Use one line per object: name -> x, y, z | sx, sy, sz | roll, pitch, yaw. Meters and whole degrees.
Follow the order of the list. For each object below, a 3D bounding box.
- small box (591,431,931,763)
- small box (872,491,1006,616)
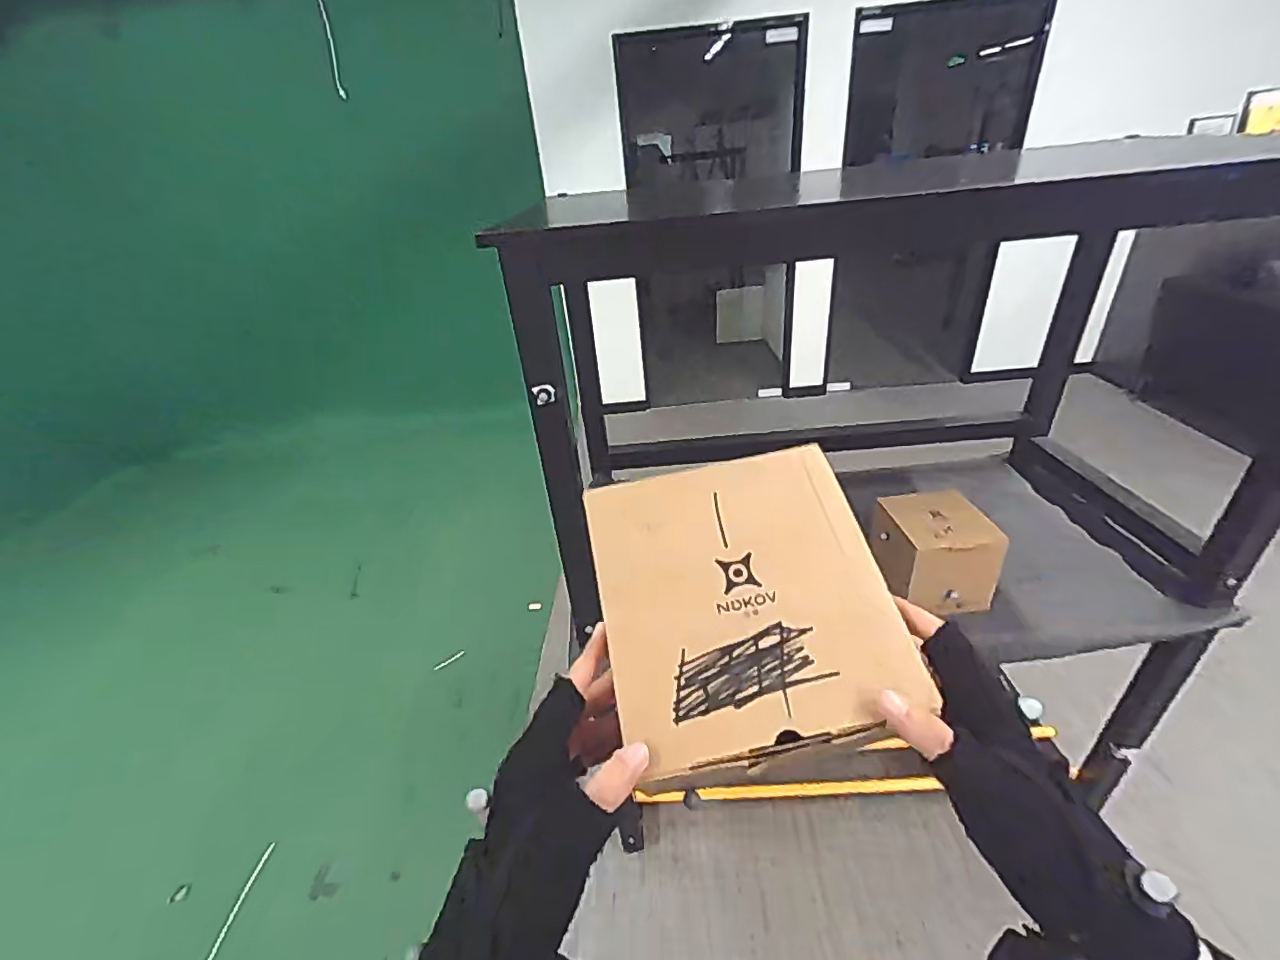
small box -> 0.067, 0.095, 0.394 | 0.168, 0.176, 0.179 | -11, 57, -3
small box -> 0.570, 0.143, 1.065 | 0.168, 0.176, 0.179 | -6, 30, 0
